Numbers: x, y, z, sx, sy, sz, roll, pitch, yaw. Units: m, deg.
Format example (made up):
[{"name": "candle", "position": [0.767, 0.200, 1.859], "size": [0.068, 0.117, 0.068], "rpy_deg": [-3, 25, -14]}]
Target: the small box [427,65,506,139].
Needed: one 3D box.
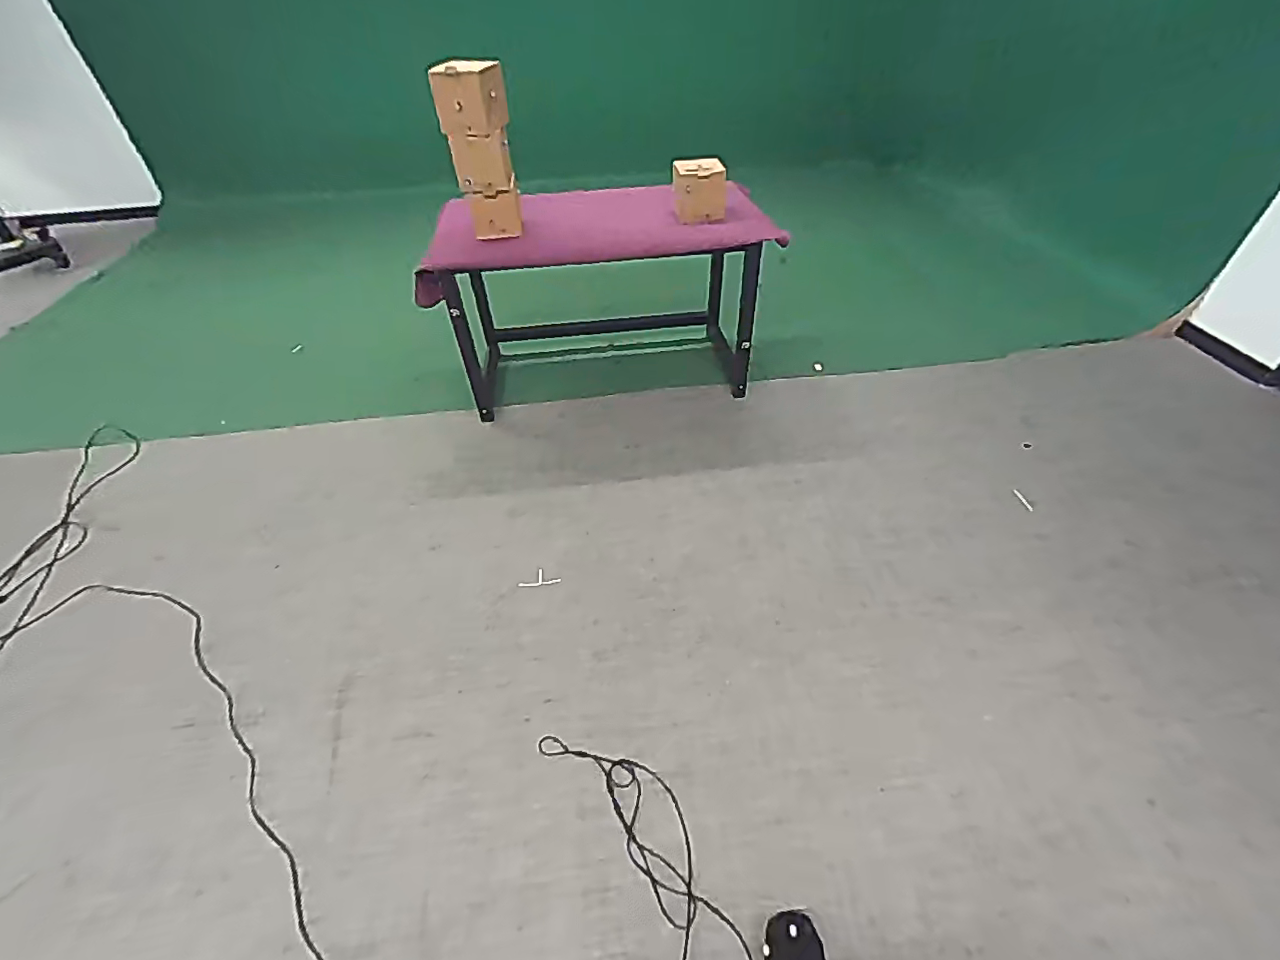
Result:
[{"name": "small box", "position": [-0.545, -1.212, 1.734], "size": [0.168, 0.176, 0.179], "rpy_deg": [9, 48, 9]}]

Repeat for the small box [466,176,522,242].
[{"name": "small box", "position": [-0.529, -0.990, 1.975], "size": [0.168, 0.176, 0.179], "rpy_deg": [-7, 46, -5]}]

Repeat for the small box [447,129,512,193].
[{"name": "small box", "position": [-0.541, -1.094, 1.848], "size": [0.168, 0.176, 0.179], "rpy_deg": [-4, 45, -2]}]
